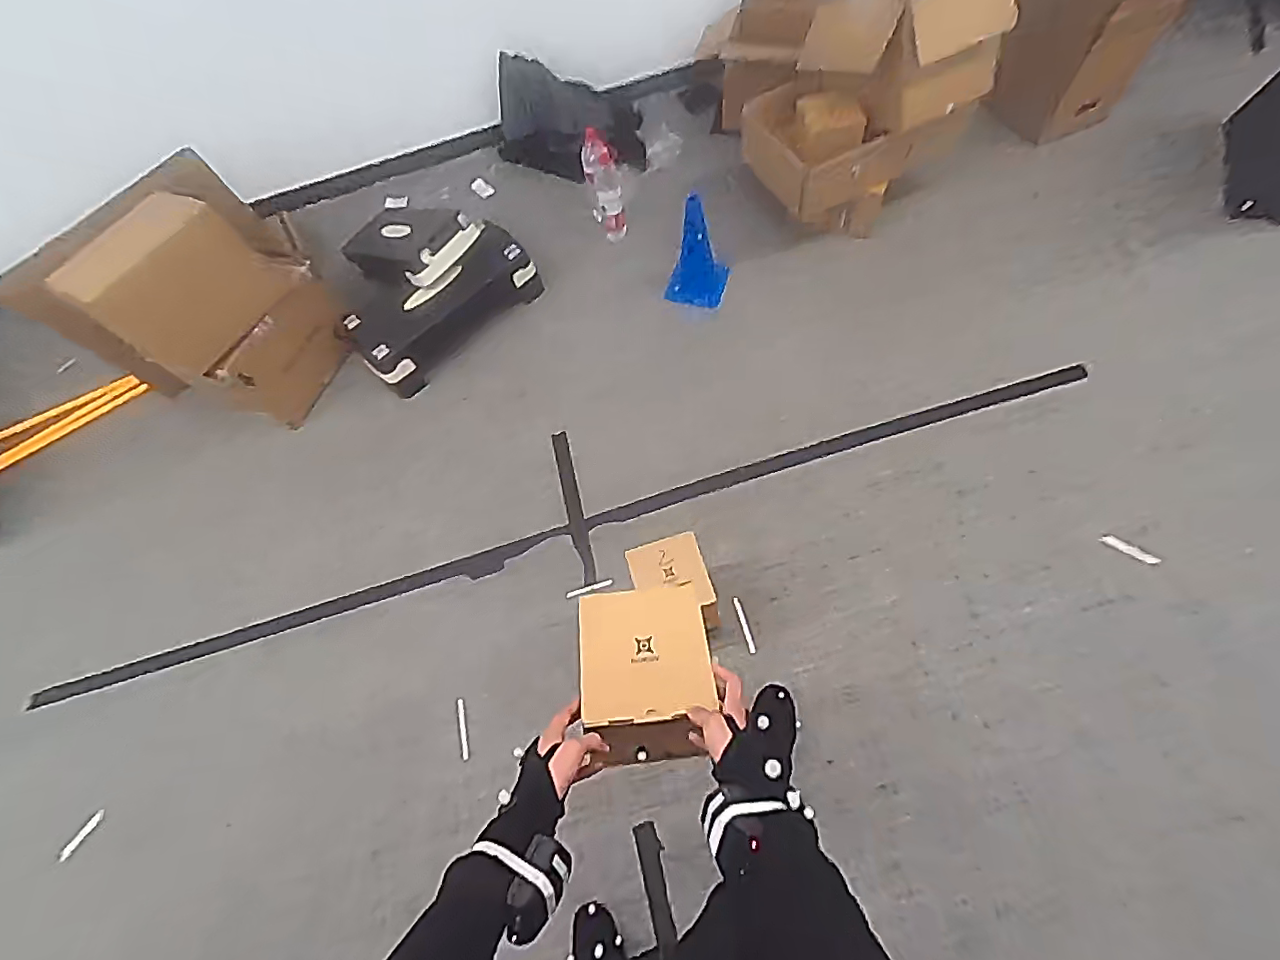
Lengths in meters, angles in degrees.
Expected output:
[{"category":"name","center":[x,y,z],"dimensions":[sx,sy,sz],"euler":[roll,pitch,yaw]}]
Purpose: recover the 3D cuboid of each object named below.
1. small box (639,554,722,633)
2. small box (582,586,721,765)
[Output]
[{"category":"small box","center":[0.107,0.319,1.422],"dimensions":[0.168,0.176,0.179],"euler":[-20,65,0]},{"category":"small box","center":[0.007,0.270,0.747],"dimensions":[0.168,0.176,0.179],"euler":[-5,48,-3]}]
